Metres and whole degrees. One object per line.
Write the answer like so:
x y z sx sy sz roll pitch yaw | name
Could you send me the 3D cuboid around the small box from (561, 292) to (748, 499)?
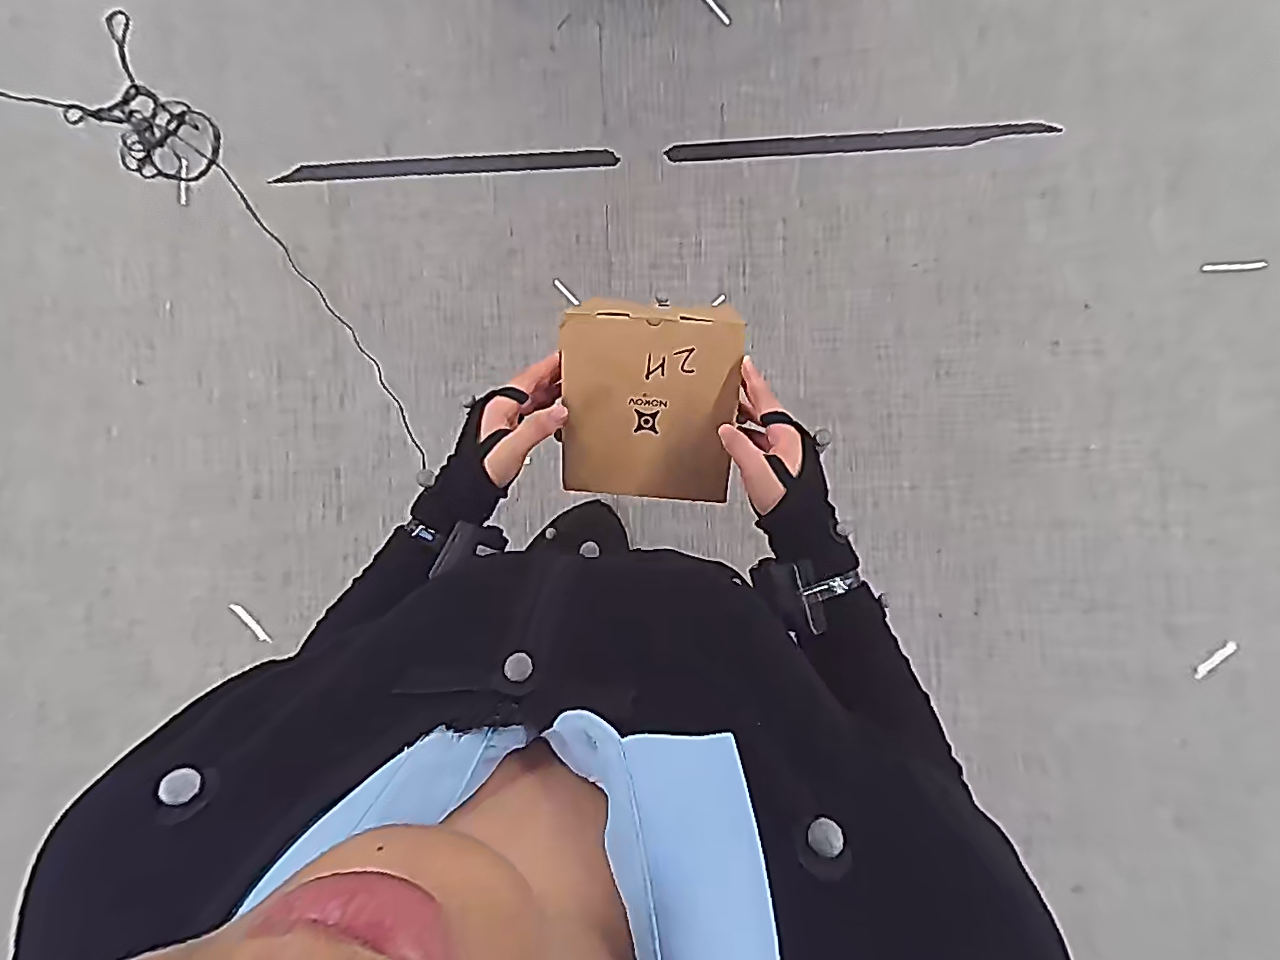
0.015 -0.098 0.575 0.168 0.176 0.179 5 112 3 | small box
